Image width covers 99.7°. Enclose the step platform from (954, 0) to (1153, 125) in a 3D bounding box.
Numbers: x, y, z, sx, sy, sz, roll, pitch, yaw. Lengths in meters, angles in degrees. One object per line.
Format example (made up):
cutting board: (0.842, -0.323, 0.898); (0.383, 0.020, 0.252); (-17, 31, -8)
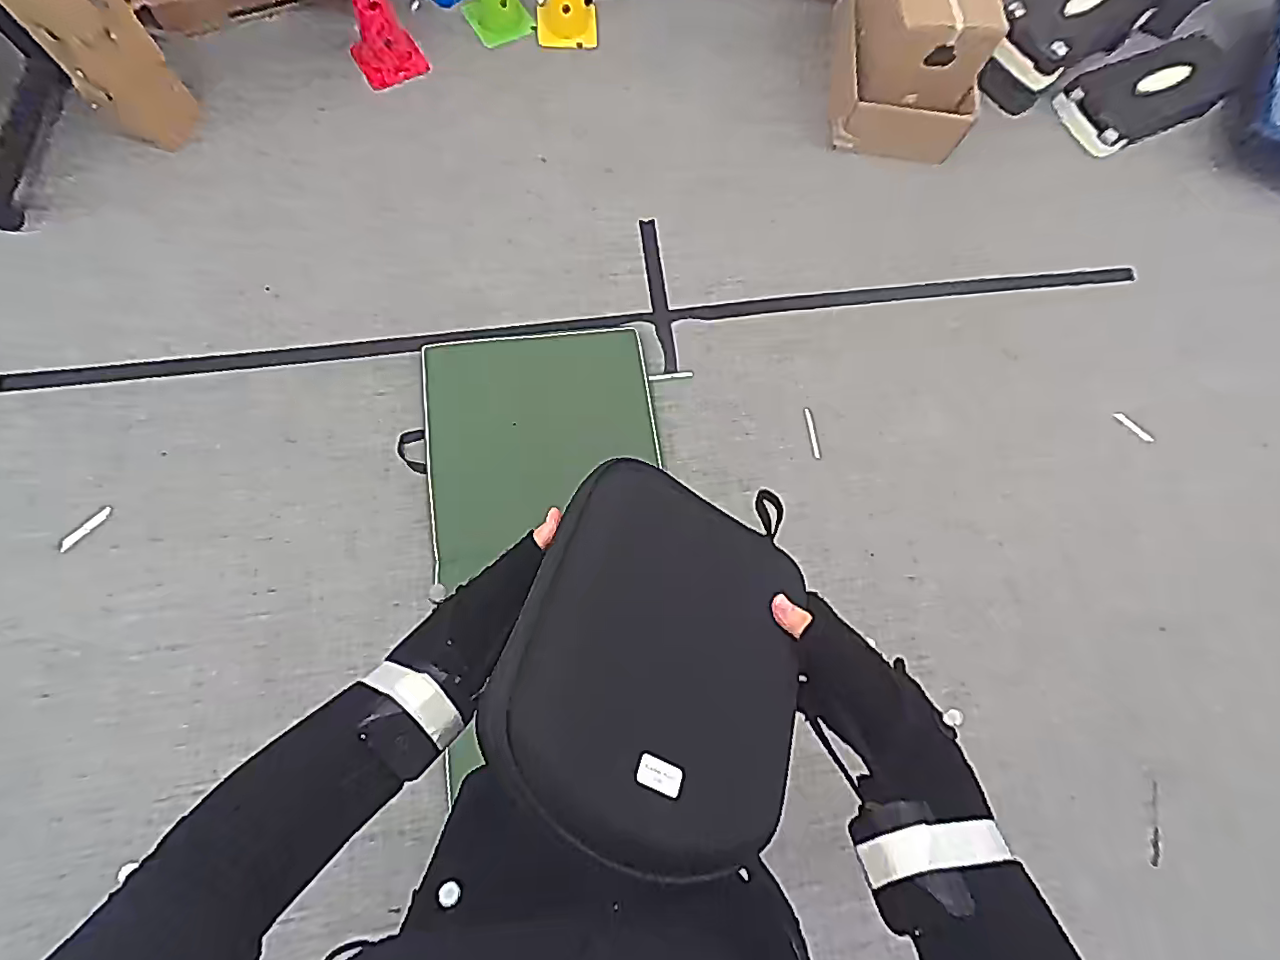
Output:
step platform: (1.488, -1.577, 1.943); (0.684, 0.204, 0.286); (-36, 81, -12)
